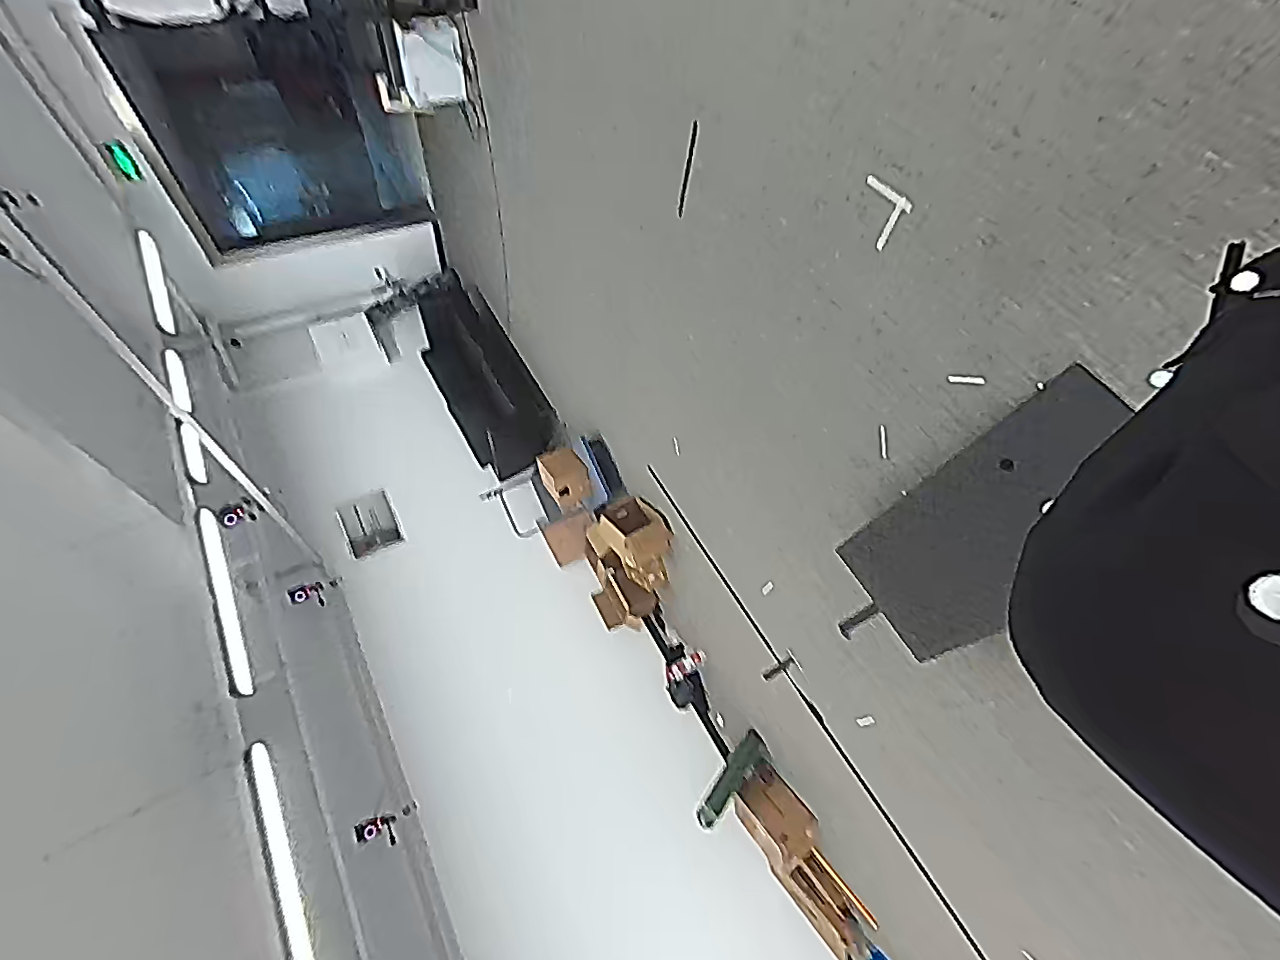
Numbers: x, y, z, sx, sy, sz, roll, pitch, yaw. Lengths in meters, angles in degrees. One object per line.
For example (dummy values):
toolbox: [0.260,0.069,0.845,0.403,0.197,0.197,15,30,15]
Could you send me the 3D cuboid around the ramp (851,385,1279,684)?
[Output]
ramp: [1.064,0.230,1.582,0.509,0.206,0.991,59,157,25]
